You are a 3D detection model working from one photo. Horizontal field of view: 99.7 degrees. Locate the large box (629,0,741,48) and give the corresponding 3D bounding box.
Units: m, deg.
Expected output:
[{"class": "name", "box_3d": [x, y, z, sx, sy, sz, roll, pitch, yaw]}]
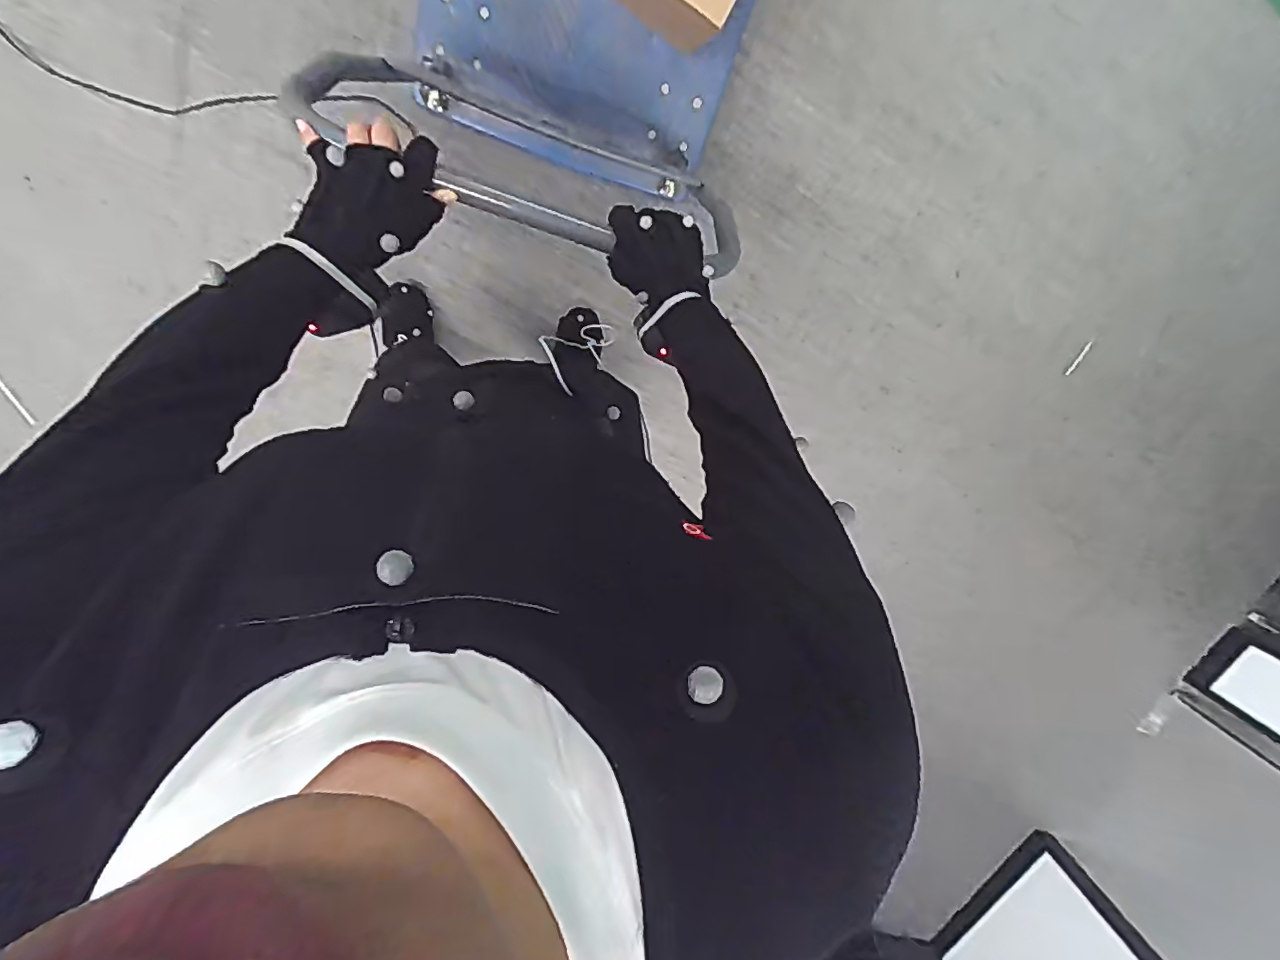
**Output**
[{"class": "large box", "box_3d": [0.019, -0.927, 0.785, 0.408, 0.320, 0.320, 25, 118, -19]}]
